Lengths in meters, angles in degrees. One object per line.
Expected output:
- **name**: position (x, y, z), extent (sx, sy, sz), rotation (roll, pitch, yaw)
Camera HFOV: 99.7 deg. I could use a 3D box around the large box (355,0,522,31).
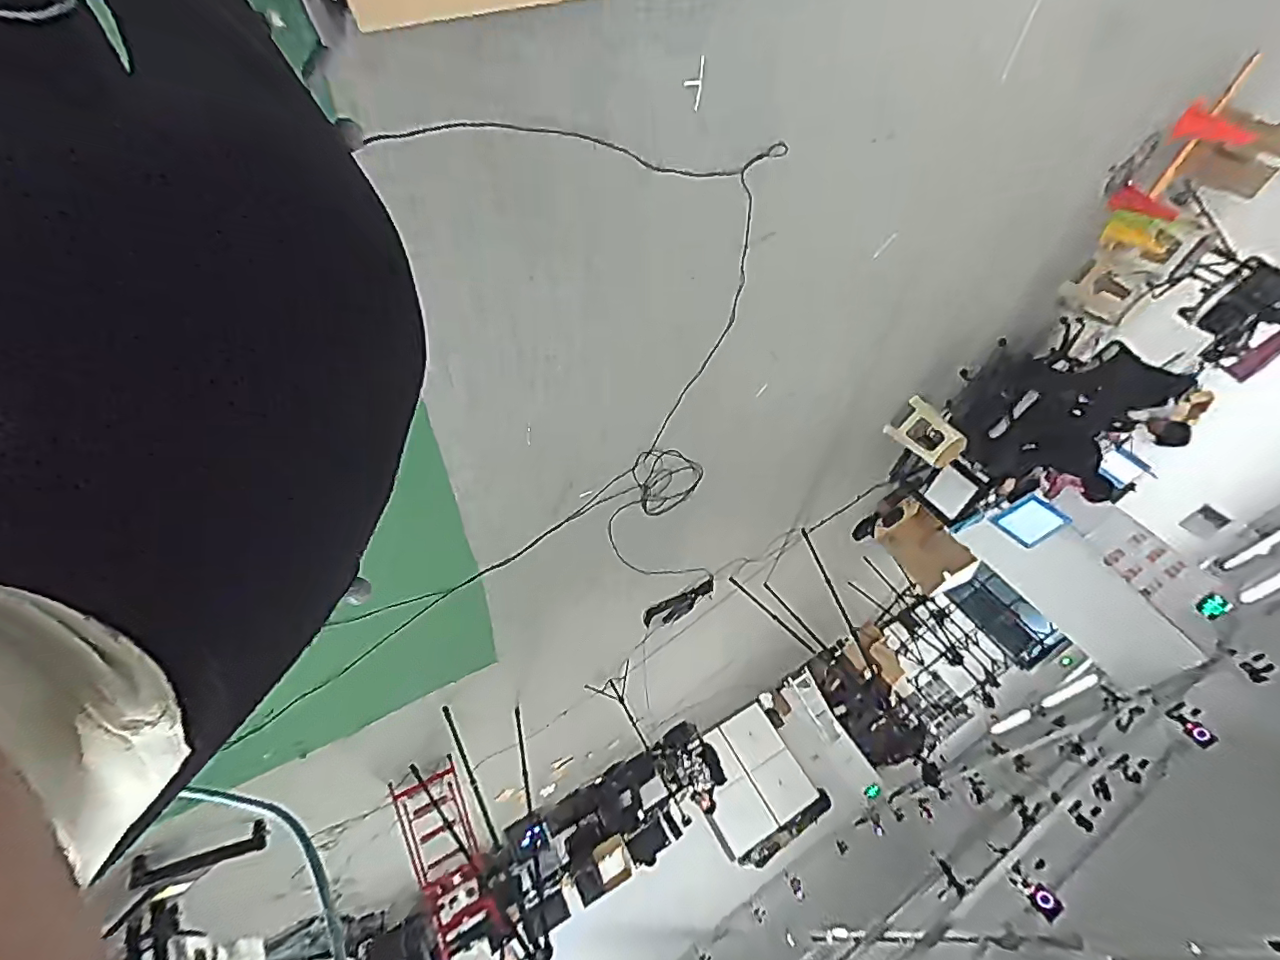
- **large box**: position (-0.284, -0.945, 0.809), extent (0.408, 0.320, 0.320), rotation (-15, 145, -5)
